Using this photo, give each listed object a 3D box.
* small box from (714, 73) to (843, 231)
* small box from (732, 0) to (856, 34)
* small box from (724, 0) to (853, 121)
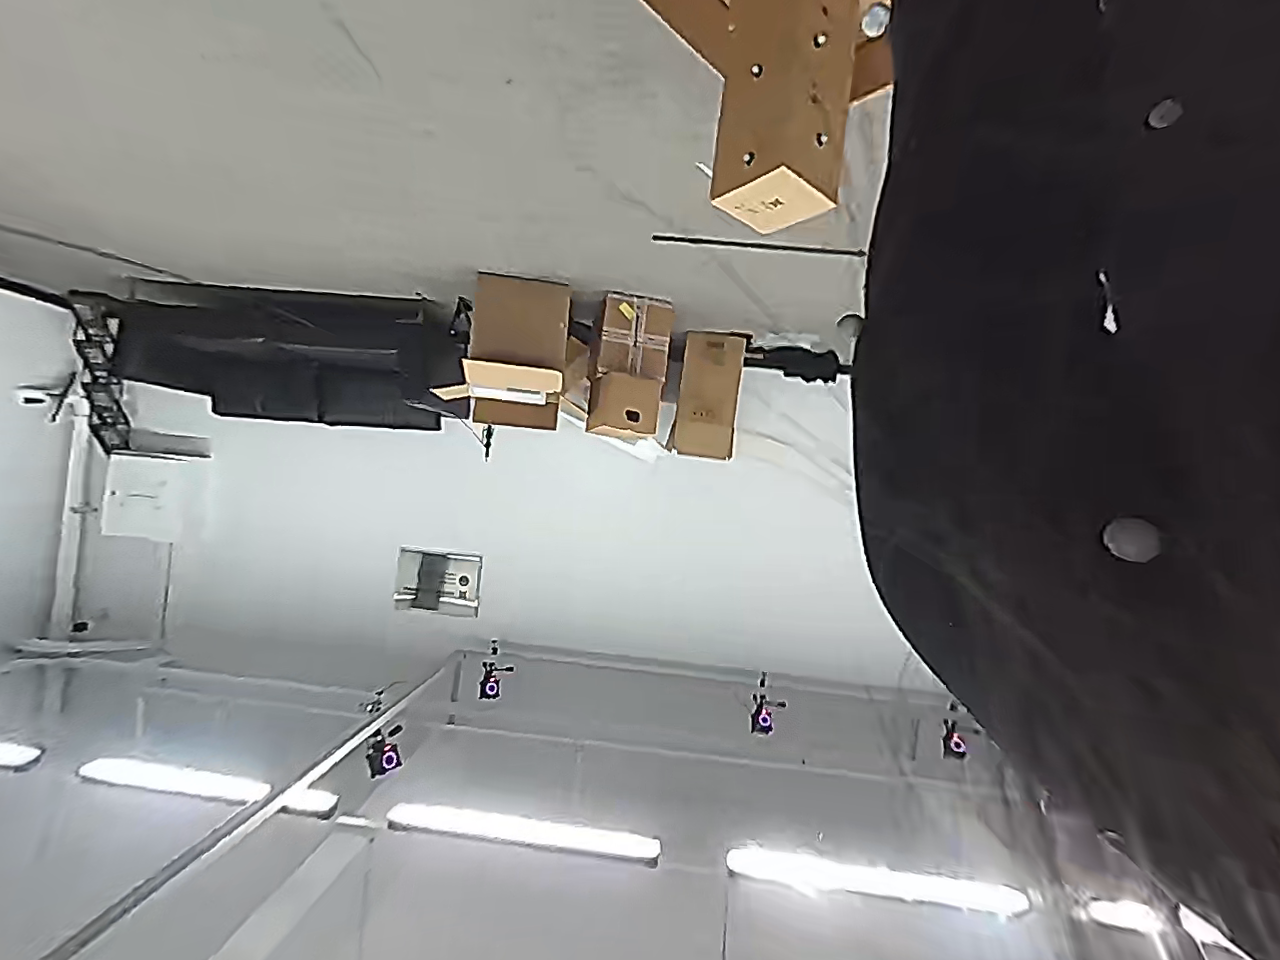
[{"bbox_3d":[0.261,-0.602,1.009,0.168,0.176,0.179,8,178,-38],"label":"small box"},{"bbox_3d":[0.296,-0.927,1.009,0.168,0.176,0.179,6,179,-43],"label":"small box"},{"bbox_3d":[0.282,-0.766,1.015,0.168,0.176,0.179,8,180,-39],"label":"small box"}]
